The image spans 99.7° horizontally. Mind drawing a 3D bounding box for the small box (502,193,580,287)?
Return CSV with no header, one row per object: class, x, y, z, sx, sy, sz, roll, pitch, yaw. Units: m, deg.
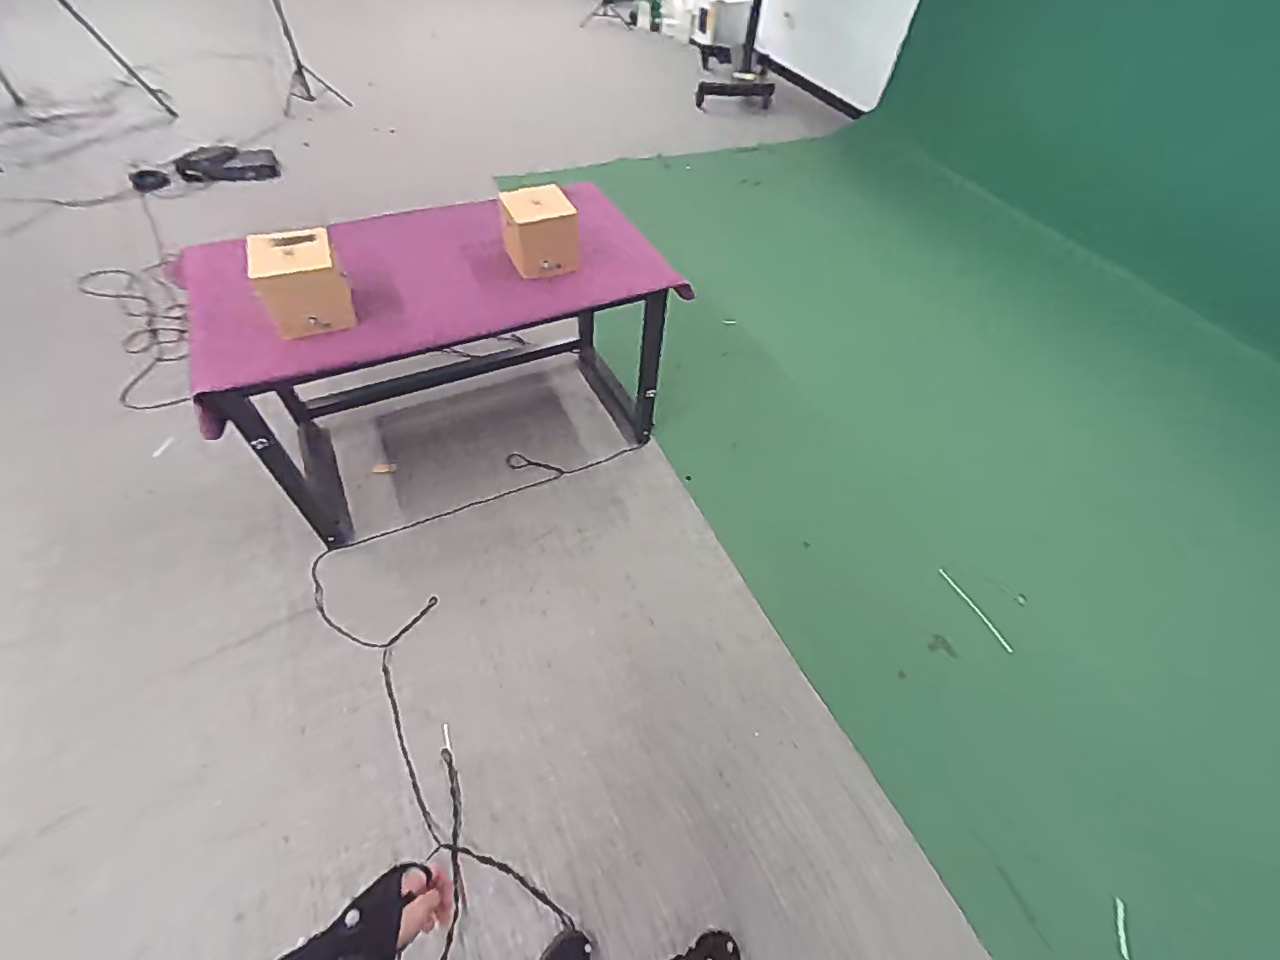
small box,-0.272,-0.664,1.497,0.168,0.176,0.179,-18,55,-16
